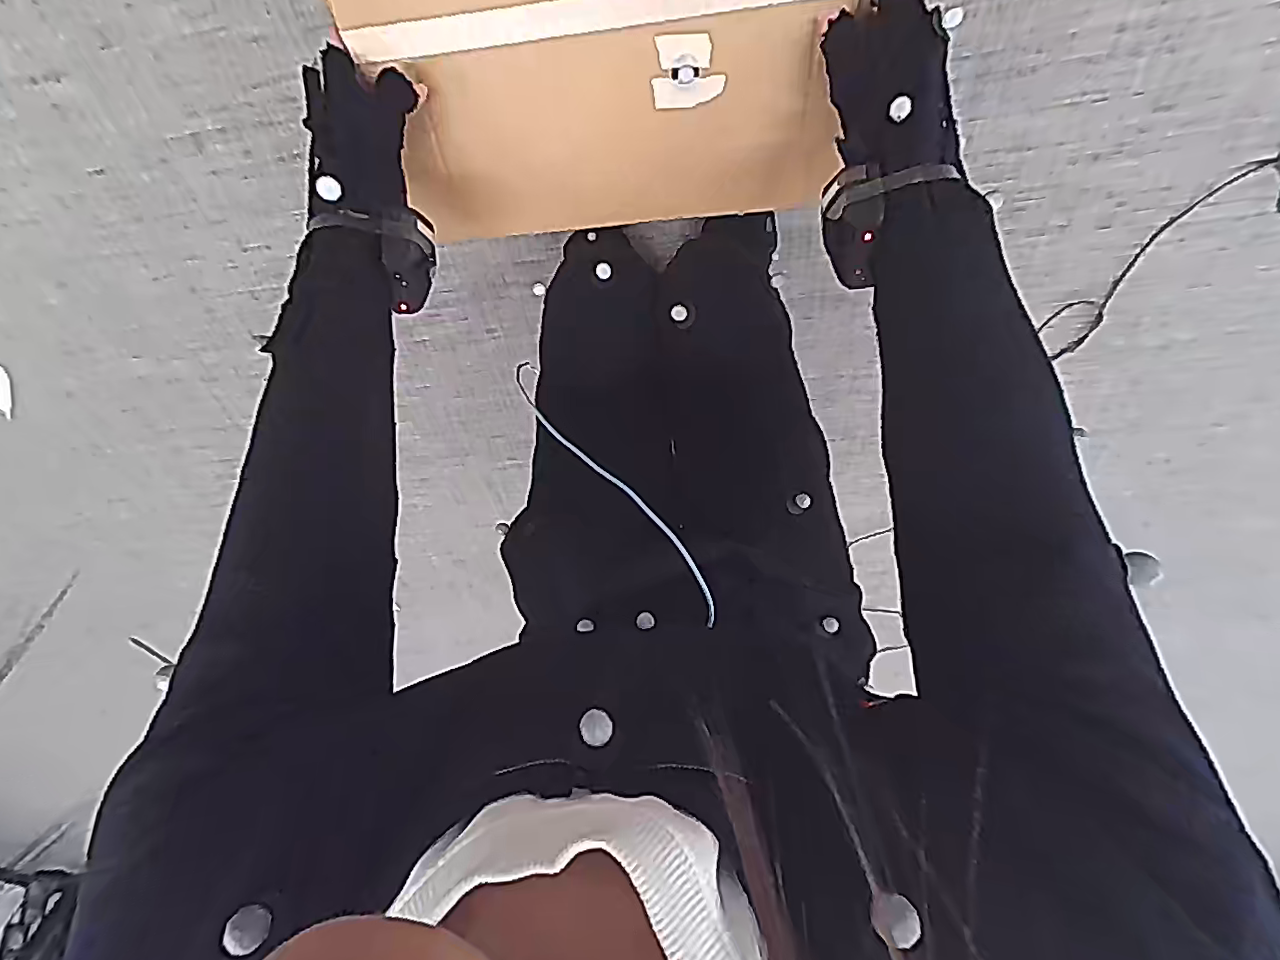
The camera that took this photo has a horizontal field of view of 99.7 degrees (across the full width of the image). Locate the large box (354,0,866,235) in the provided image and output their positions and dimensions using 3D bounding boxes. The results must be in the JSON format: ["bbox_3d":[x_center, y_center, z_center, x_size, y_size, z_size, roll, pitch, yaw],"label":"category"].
[{"bbox_3d":[-0.023,-0.472,0.528,0.408,0.320,0.320,-4,134,6],"label":"large box"}]
